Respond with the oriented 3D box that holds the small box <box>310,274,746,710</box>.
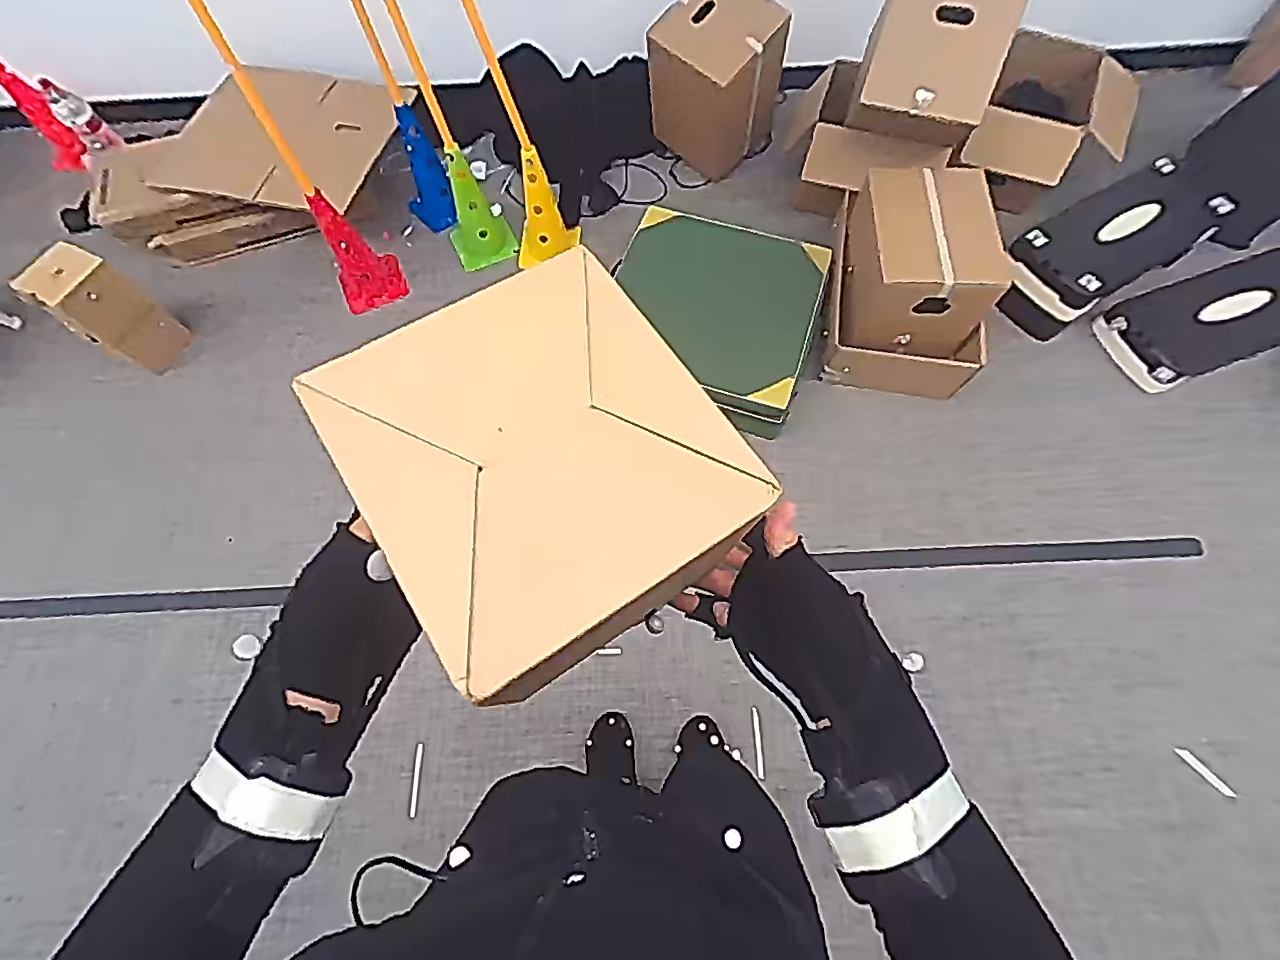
[{"bbox_3d":[-0.060,0.014,0.324,0.168,0.176,0.179,-28,73,-14],"label":"small box"}]
